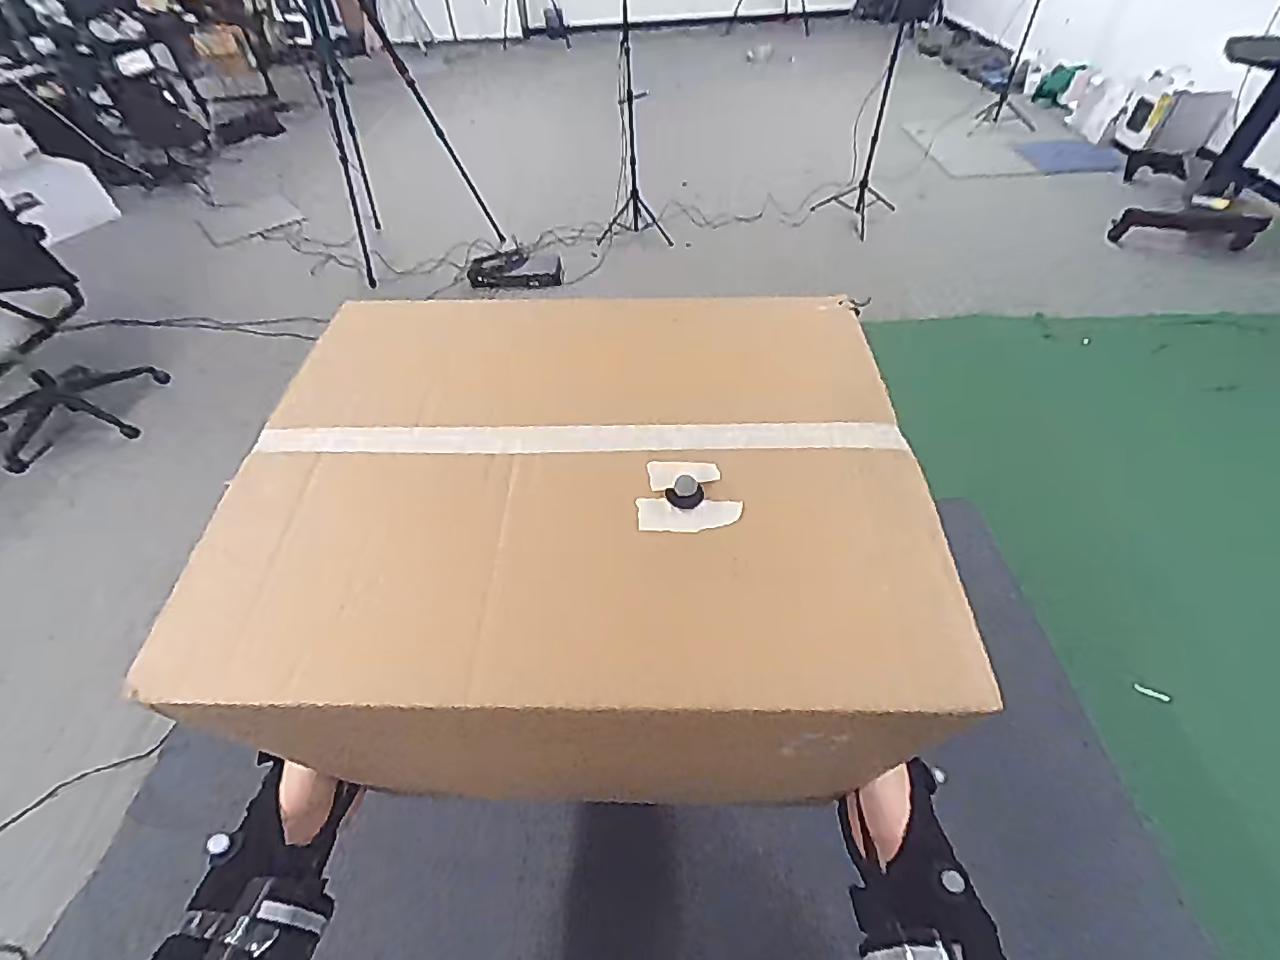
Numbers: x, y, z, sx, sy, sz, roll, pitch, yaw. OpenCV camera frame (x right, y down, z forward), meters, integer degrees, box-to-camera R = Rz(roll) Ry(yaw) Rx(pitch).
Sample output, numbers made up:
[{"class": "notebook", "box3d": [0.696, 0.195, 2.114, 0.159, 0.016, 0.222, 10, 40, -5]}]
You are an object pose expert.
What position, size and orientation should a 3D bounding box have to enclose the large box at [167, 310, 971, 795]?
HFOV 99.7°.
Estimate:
[{"class": "large box", "box3d": [-0.035, 0.075, 0.470, 0.408, 0.320, 0.320, 0, 54, 1]}]
